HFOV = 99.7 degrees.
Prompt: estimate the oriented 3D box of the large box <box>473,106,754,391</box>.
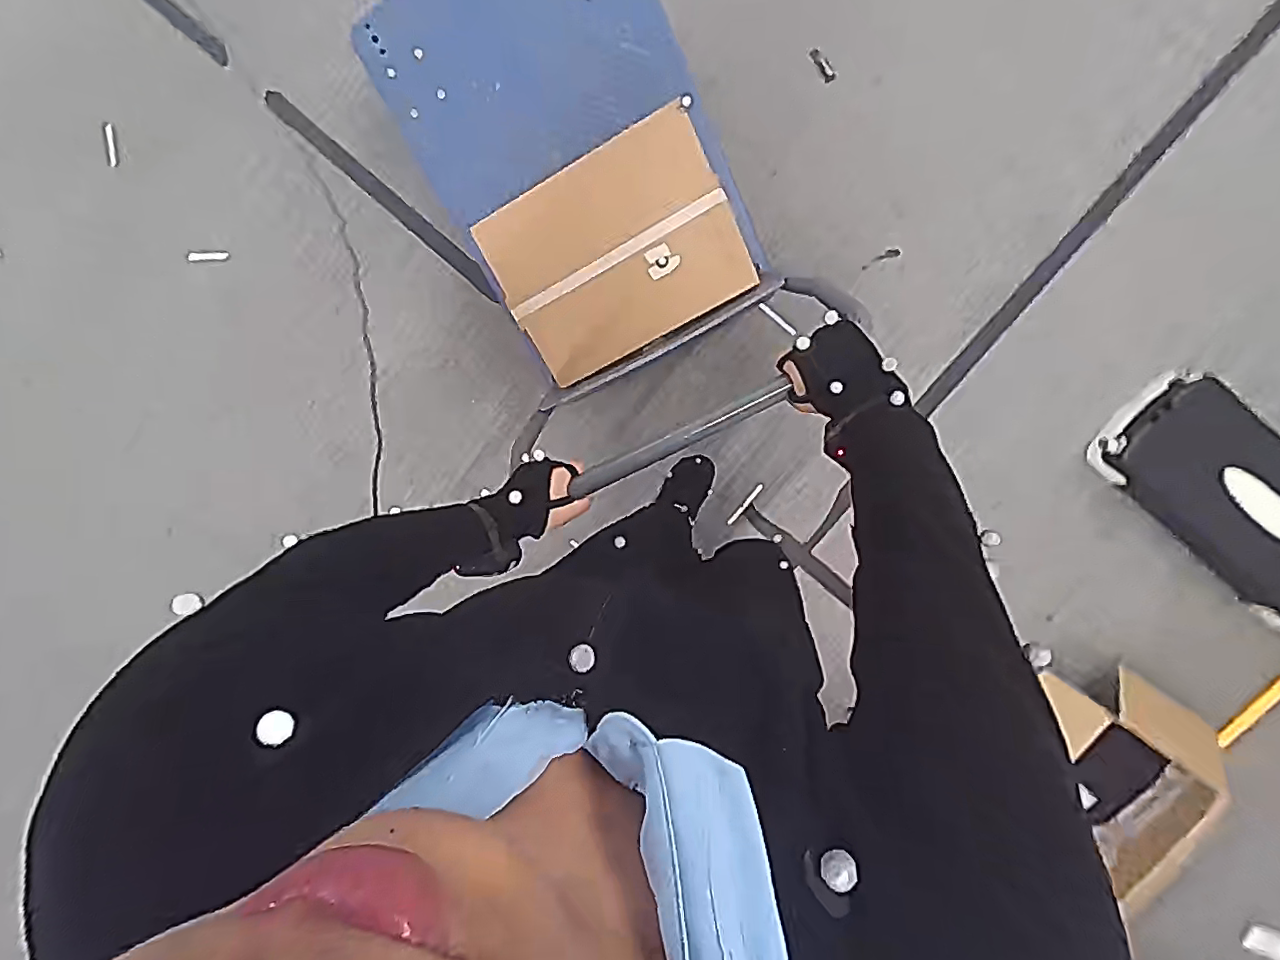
[{"bbox_3d":[-0.043,-0.423,1.069,0.408,0.320,0.320,-27,107,9],"label":"large box"}]
